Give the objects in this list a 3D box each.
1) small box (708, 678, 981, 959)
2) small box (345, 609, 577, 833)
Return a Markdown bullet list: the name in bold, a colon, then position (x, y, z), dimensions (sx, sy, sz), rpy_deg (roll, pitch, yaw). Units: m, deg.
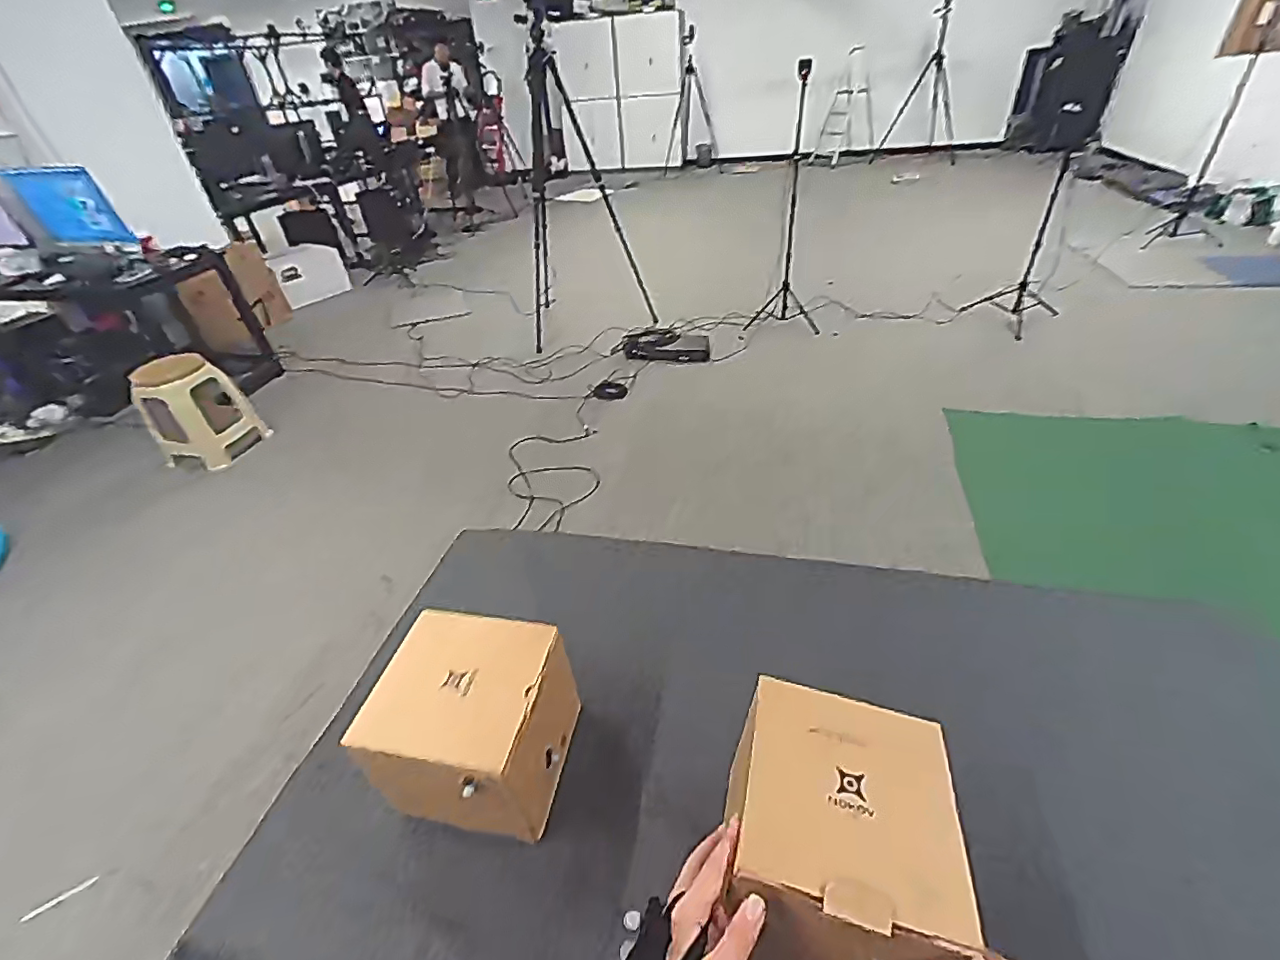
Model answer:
- **small box**: position (0.160, 0.316, 0.474), dimensions (0.168, 0.176, 0.179), rpy_deg (13, 33, 10)
- **small box**: position (-0.185, 0.274, 0.621), dimensions (0.179, 0.176, 0.168), rpy_deg (4, 39, 11)
